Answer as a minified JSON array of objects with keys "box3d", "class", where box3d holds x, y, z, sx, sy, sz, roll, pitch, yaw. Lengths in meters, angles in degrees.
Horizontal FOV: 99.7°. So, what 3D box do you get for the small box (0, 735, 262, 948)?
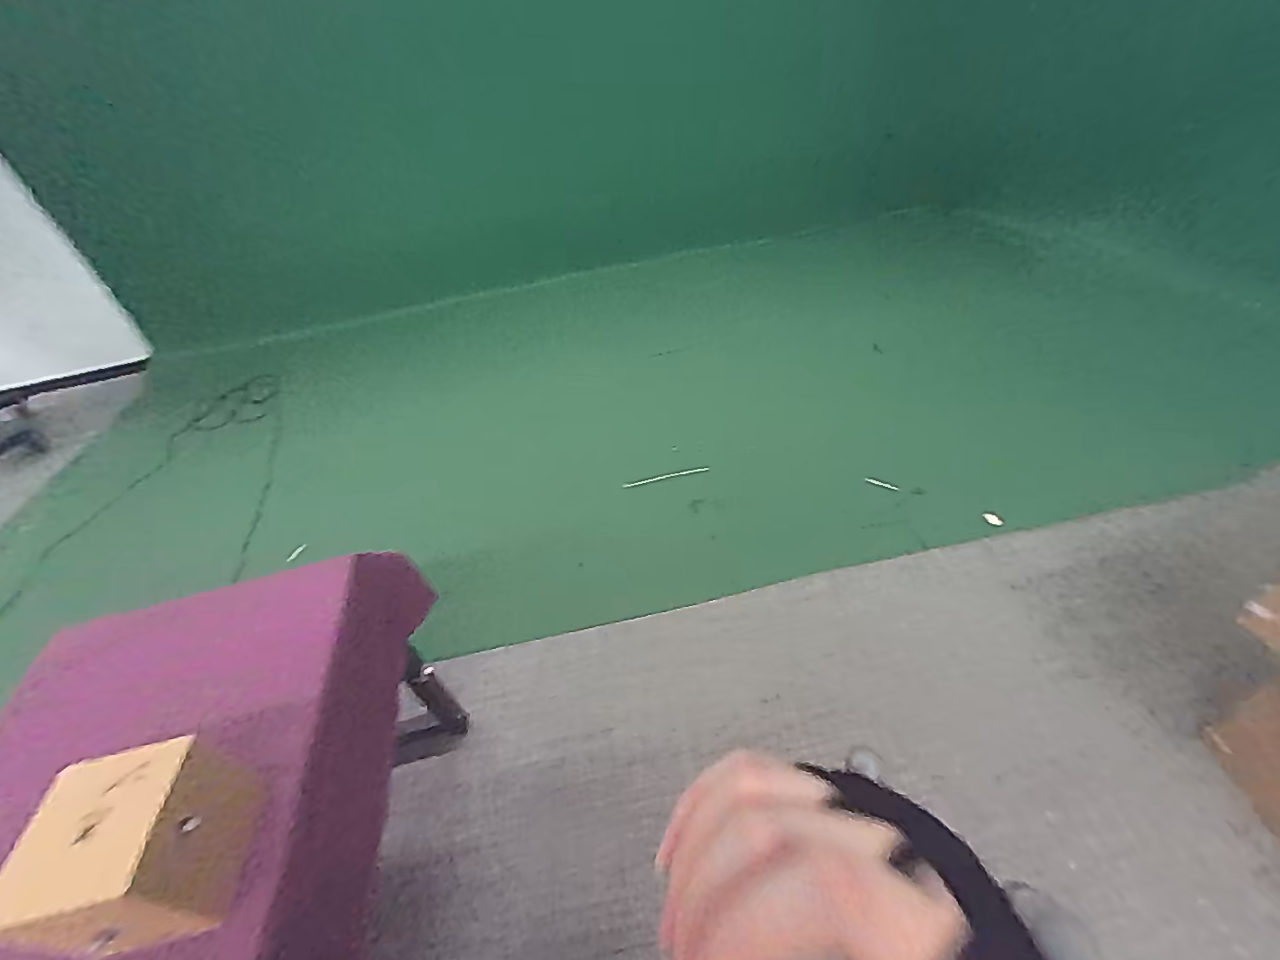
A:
[{"box3d":[-0.627,0.460,0.684,0.168,0.176,0.179,-13,41,-3],"class":"small box"}]
